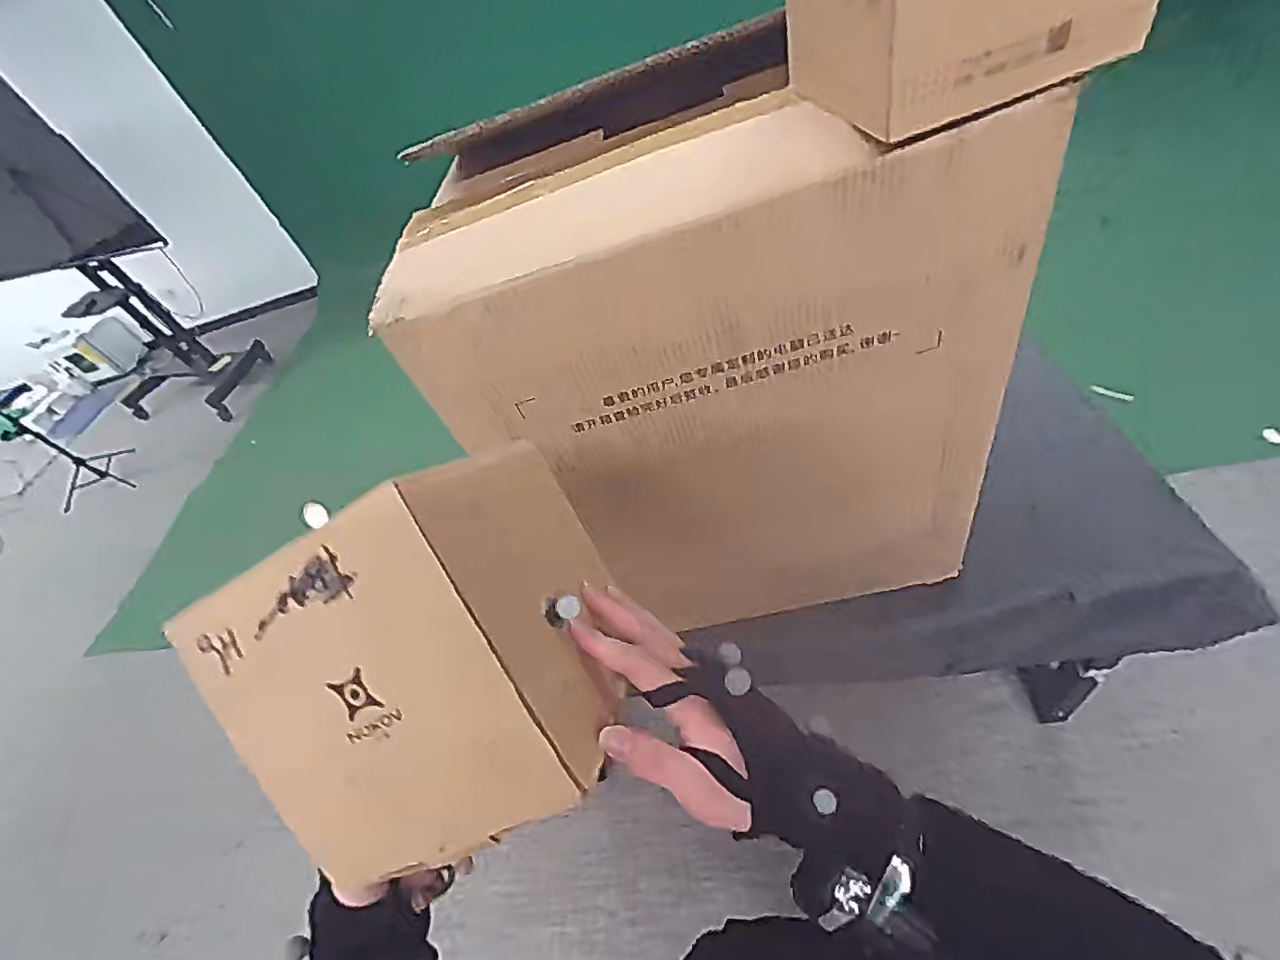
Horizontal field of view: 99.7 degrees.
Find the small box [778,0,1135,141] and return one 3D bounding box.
[{"bbox_3d":[0.195,-0.348,0.348,0.168,0.176,0.179,-18,45,3],"label":"small box"}]
